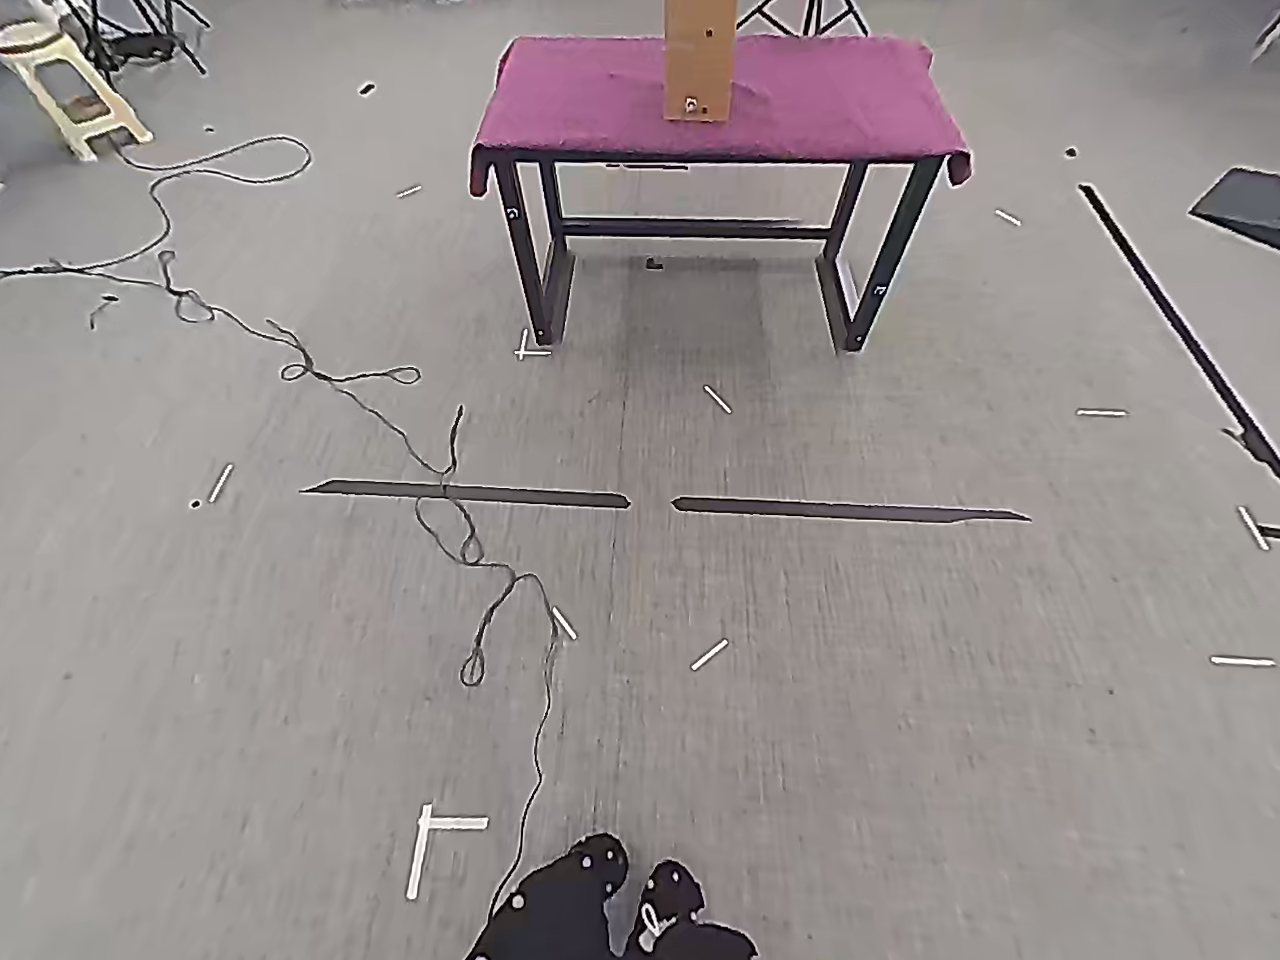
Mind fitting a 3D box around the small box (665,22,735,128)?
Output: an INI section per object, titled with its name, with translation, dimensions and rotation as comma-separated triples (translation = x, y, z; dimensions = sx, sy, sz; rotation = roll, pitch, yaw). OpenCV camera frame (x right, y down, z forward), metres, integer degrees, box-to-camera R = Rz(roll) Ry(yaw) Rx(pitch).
[small box]
translation = 0.152, -1.038, 1.387
dimensions = 0.168, 0.176, 0.179
rotation = 3, 58, 5
